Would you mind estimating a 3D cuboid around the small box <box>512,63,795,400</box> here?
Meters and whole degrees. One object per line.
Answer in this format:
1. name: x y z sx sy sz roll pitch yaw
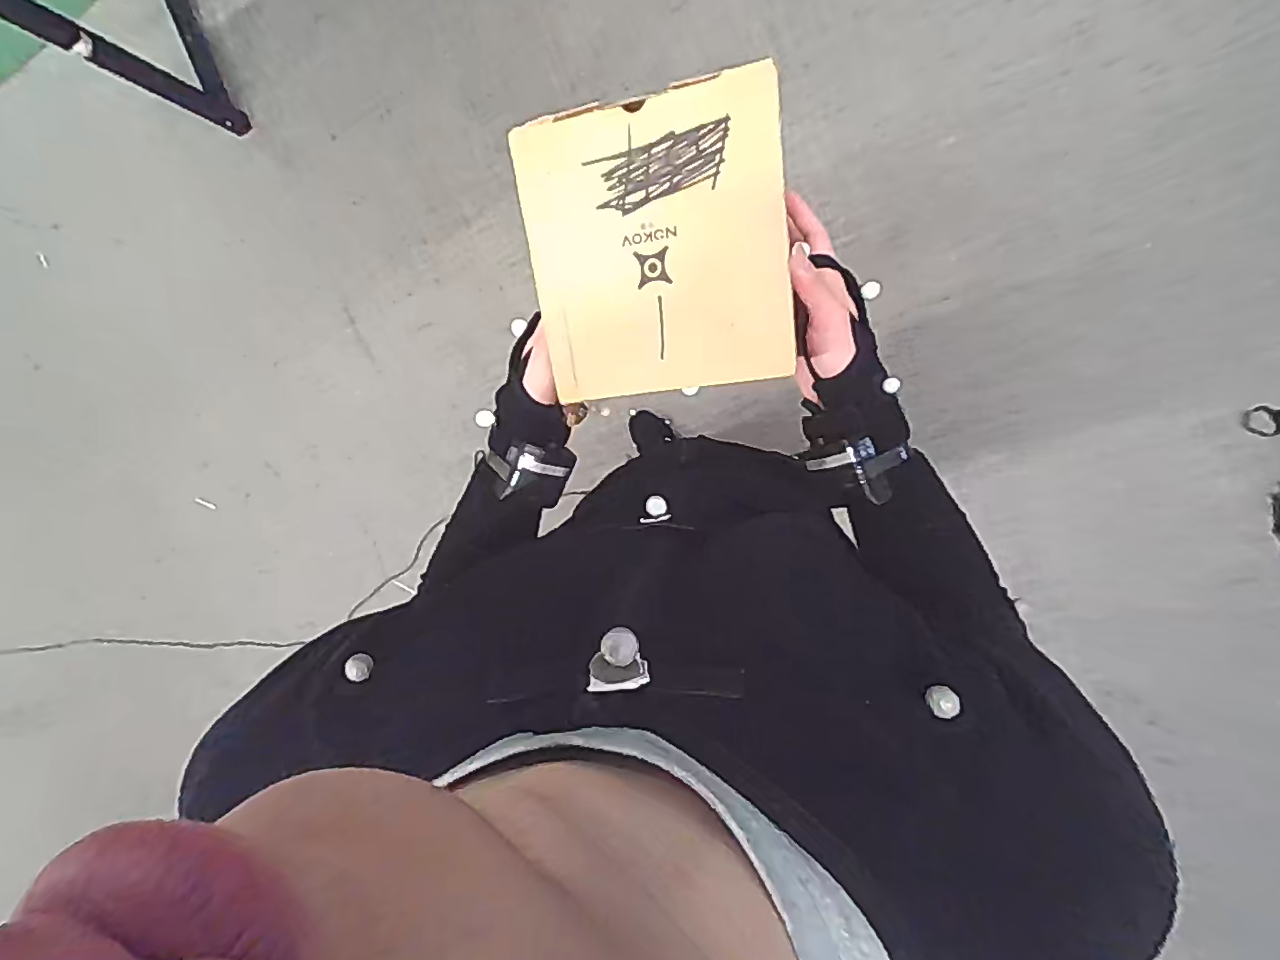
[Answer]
1. small box: 0.027 -0.166 0.414 0.168 0.176 0.179 -4 106 16
